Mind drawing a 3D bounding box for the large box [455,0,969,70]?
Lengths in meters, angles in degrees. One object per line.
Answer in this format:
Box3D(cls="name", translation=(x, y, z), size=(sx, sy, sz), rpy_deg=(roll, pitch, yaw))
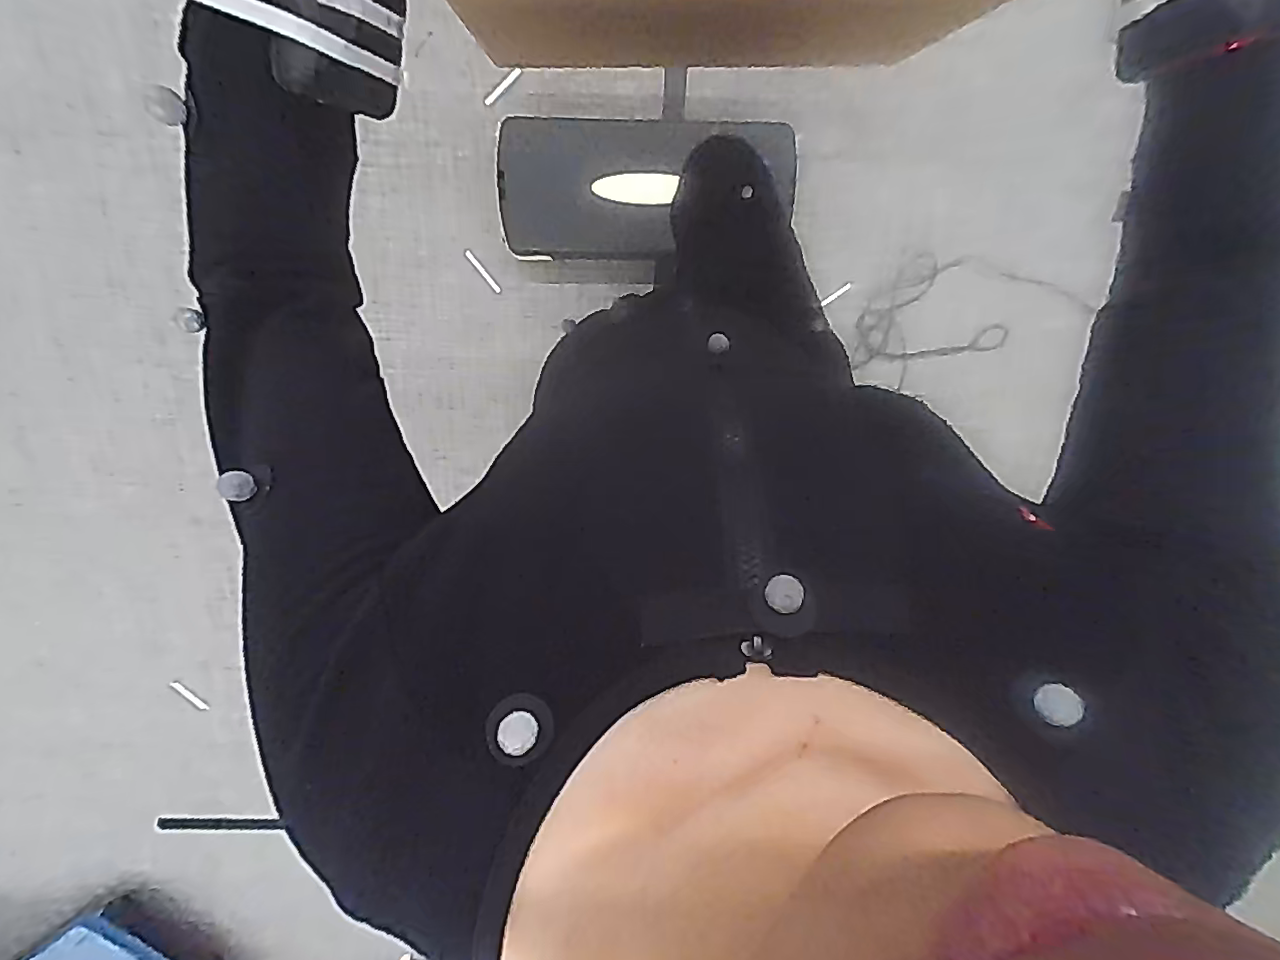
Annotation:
Box3D(cls="large box", translation=(0.056, -0.492, 0.340), size=(0.408, 0.320, 0.320), rpy_deg=(-3, 116, -2))
